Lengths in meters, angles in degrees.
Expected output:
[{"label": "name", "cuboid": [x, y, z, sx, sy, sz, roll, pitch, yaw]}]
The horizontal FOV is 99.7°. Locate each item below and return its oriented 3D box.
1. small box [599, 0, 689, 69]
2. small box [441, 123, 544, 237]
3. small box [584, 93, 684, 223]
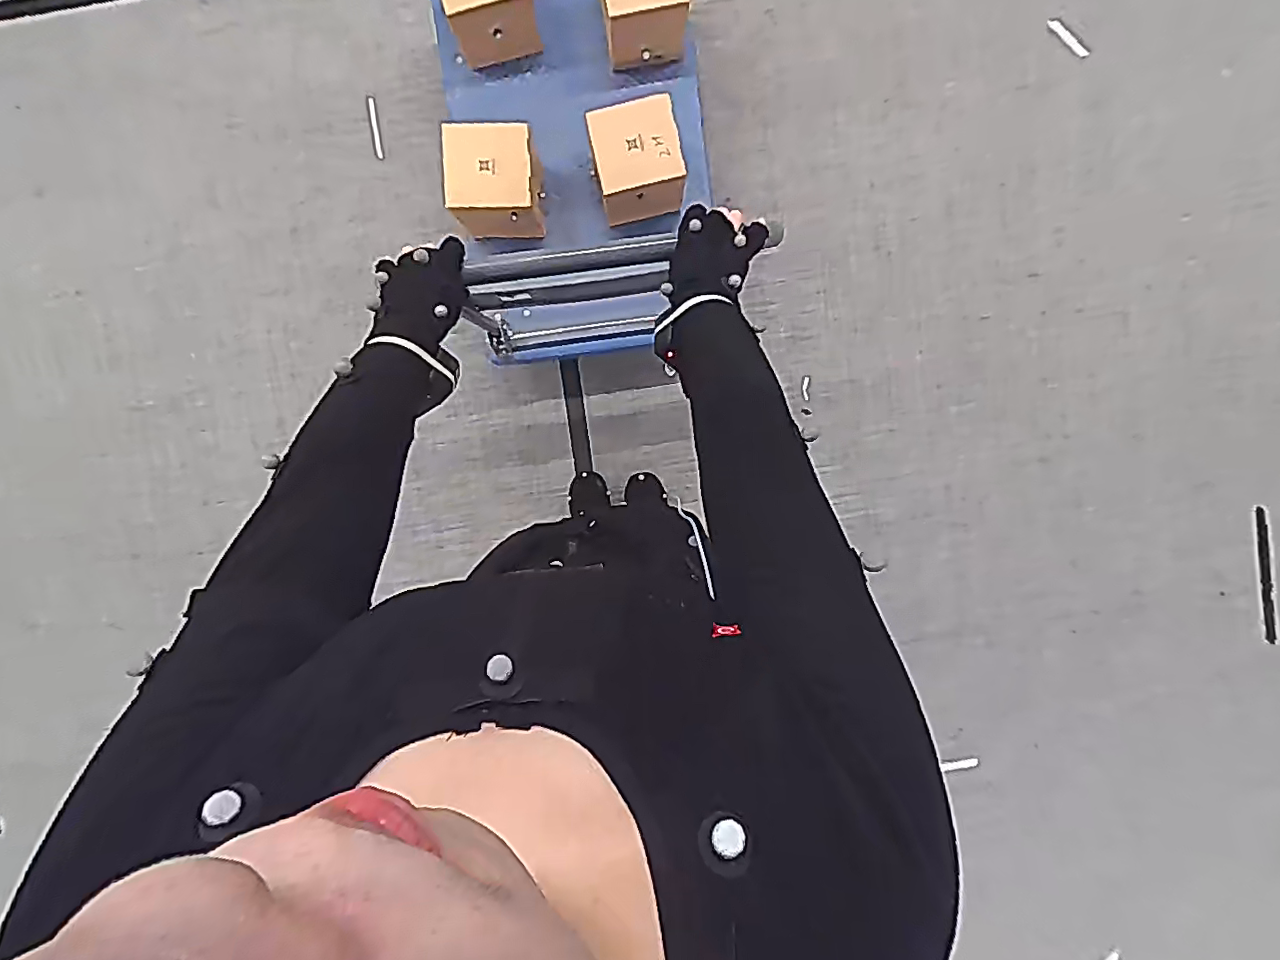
[{"label": "small box", "cuboid": [0.001, -1.014, 1.129, 0.168, 0.176, 0.179, -10, 96, 1]}, {"label": "small box", "cuboid": [-0.311, -0.635, 1.164, 0.179, 0.176, 0.168, -2, 95, -1]}, {"label": "small box", "cuboid": [-0.009, -0.676, 1.158, 0.179, 0.176, 0.168, -13, 95, 1]}]
